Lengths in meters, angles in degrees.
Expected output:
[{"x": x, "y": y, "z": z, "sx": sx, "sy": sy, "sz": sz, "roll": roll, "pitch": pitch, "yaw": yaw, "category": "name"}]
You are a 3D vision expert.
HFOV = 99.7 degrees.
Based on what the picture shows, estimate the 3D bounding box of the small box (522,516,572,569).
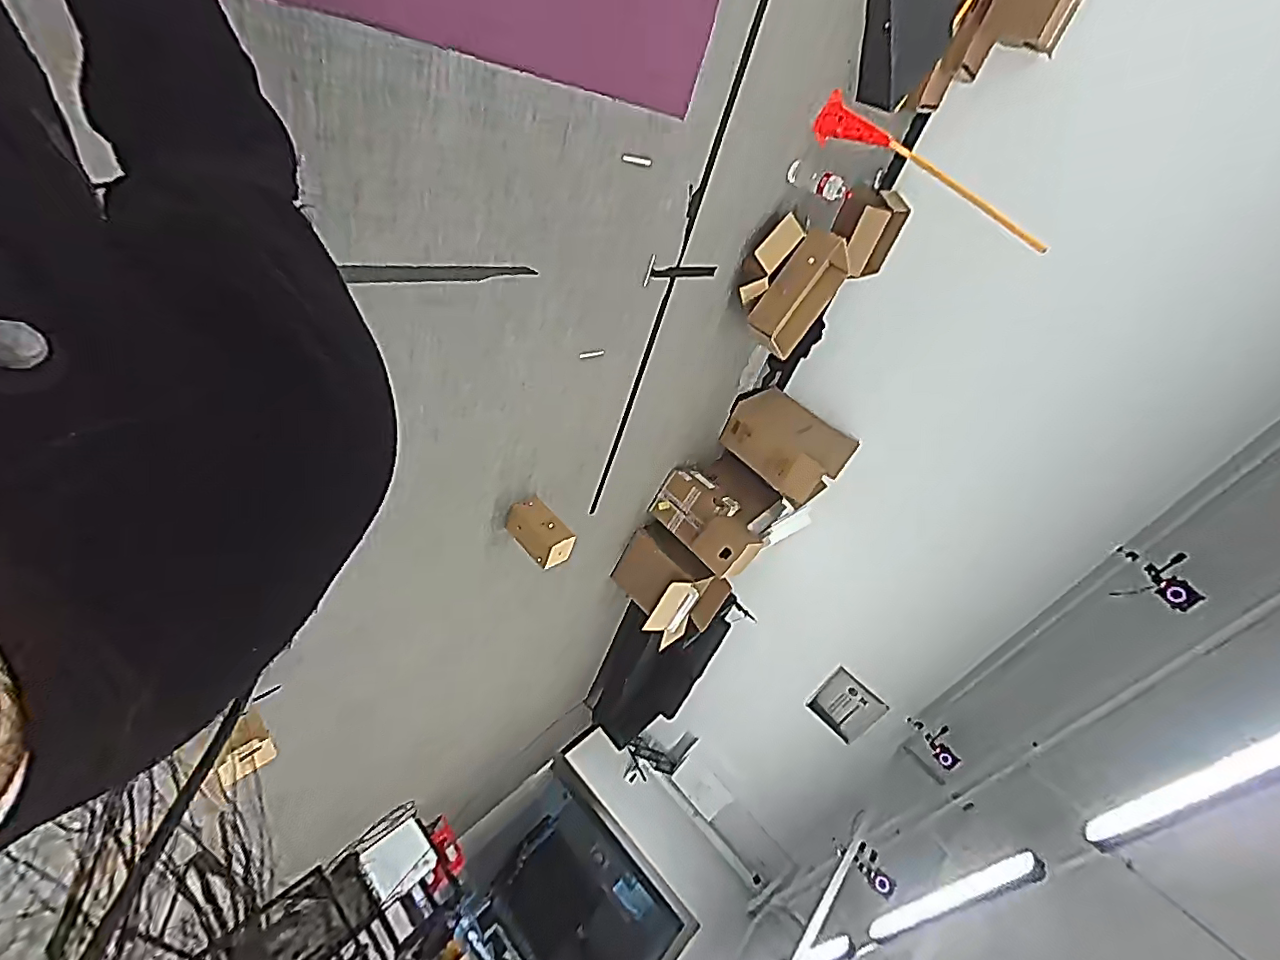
[{"x": -0.477, "y": 0.315, "z": 2.747, "sx": 0.168, "sy": 0.176, "sz": 0.179, "roll": -22, "pitch": 144, "yaw": -48, "category": "small box"}]

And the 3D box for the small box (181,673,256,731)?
[{"x": -1.586, "y": 0.860, "z": 2.036, "sx": 0.168, "sy": 0.176, "sz": 0.179, "roll": -27, "pitch": 149, "yaw": -40, "category": "small box"}]

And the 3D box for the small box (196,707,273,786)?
[{"x": -1.475, "y": 0.960, "z": 1.966, "sx": 0.168, "sy": 0.176, "sz": 0.179, "roll": -26, "pitch": 148, "yaw": -41, "category": "small box"}]
